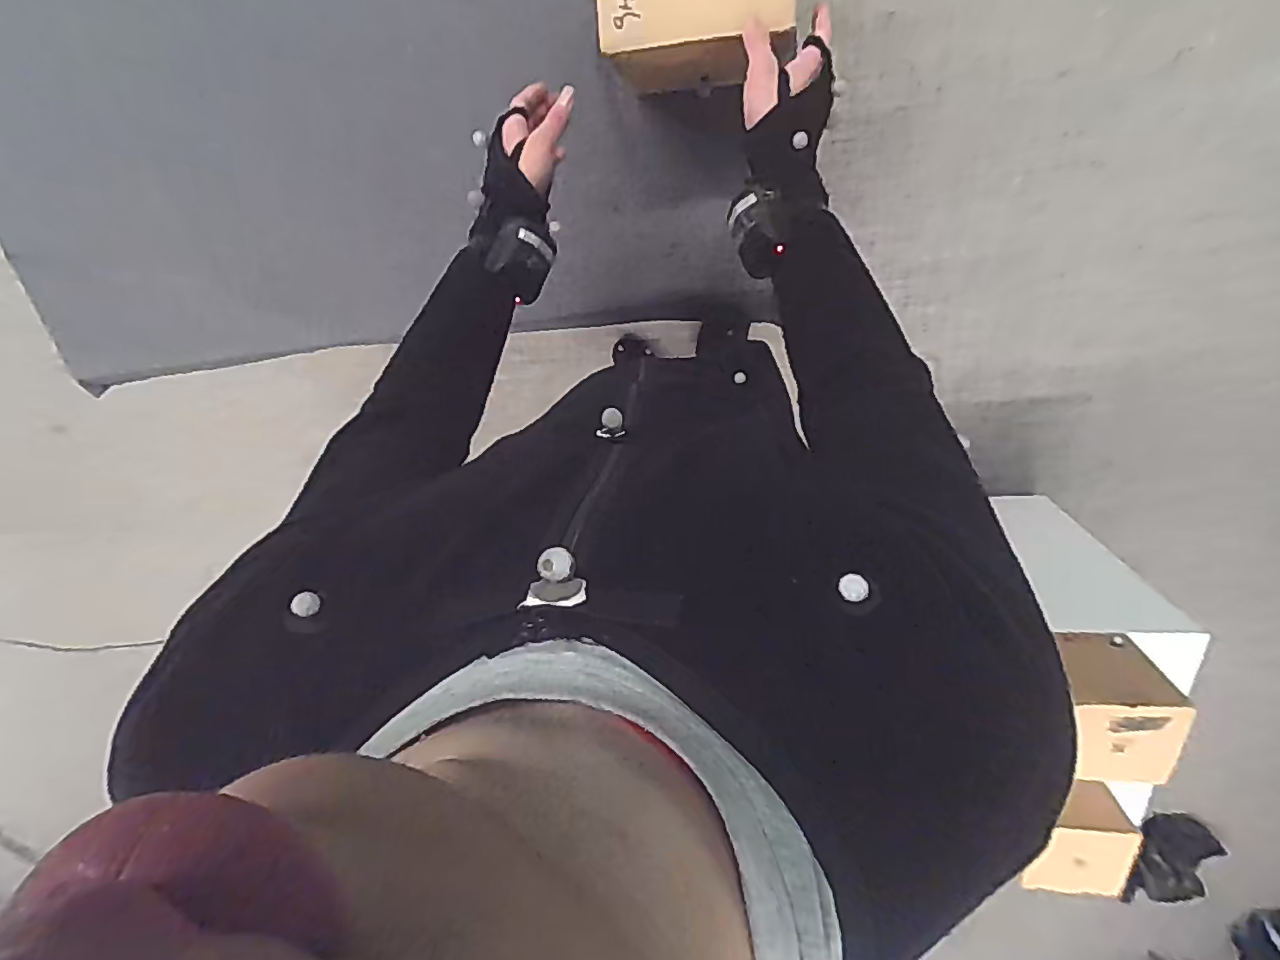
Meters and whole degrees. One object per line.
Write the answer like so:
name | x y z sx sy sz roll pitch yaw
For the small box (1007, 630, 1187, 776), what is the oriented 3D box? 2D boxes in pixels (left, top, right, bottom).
small box | 0.778 0.382 0.947 0.168 0.176 0.179 -2 116 10

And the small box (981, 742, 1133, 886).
small box | 0.807 0.654 1.071 0.168 0.176 0.179 -1 113 9

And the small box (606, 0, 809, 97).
small box | 0.064 -0.487 0.516 0.179 0.176 0.168 0 114 9
